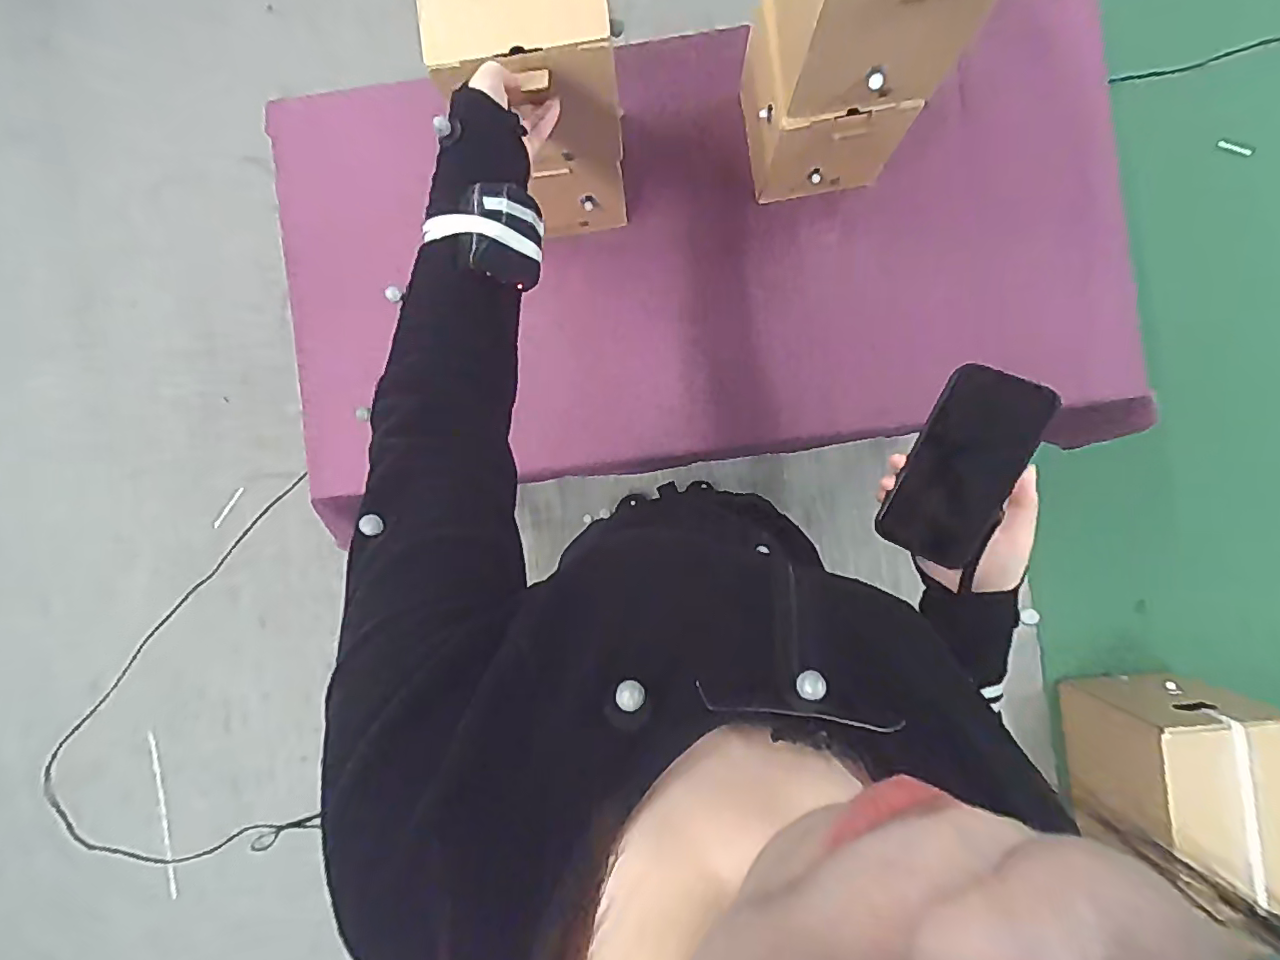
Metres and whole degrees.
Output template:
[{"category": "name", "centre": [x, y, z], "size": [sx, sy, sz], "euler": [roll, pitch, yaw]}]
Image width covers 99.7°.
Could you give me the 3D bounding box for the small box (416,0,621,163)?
[{"category": "small box", "centre": [-0.112, -0.449, 0.545], "size": [0.168, 0.176, 0.179], "euler": [-7, 90, 2]}]

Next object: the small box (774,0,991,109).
[{"category": "small box", "centre": [0.231, -0.511, 0.527], "size": [0.168, 0.176, 0.179], "euler": [-7, 90, 3]}]

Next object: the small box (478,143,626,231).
[{"category": "small box", "centre": [-0.112, -0.449, 0.710], "size": [0.168, 0.176, 0.179], "euler": [-7, 89, 2]}]

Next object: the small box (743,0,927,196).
[{"category": "small box", "centre": [0.234, -0.503, 0.692], "size": [0.168, 0.176, 0.179], "euler": [-9, 90, 3]}]
